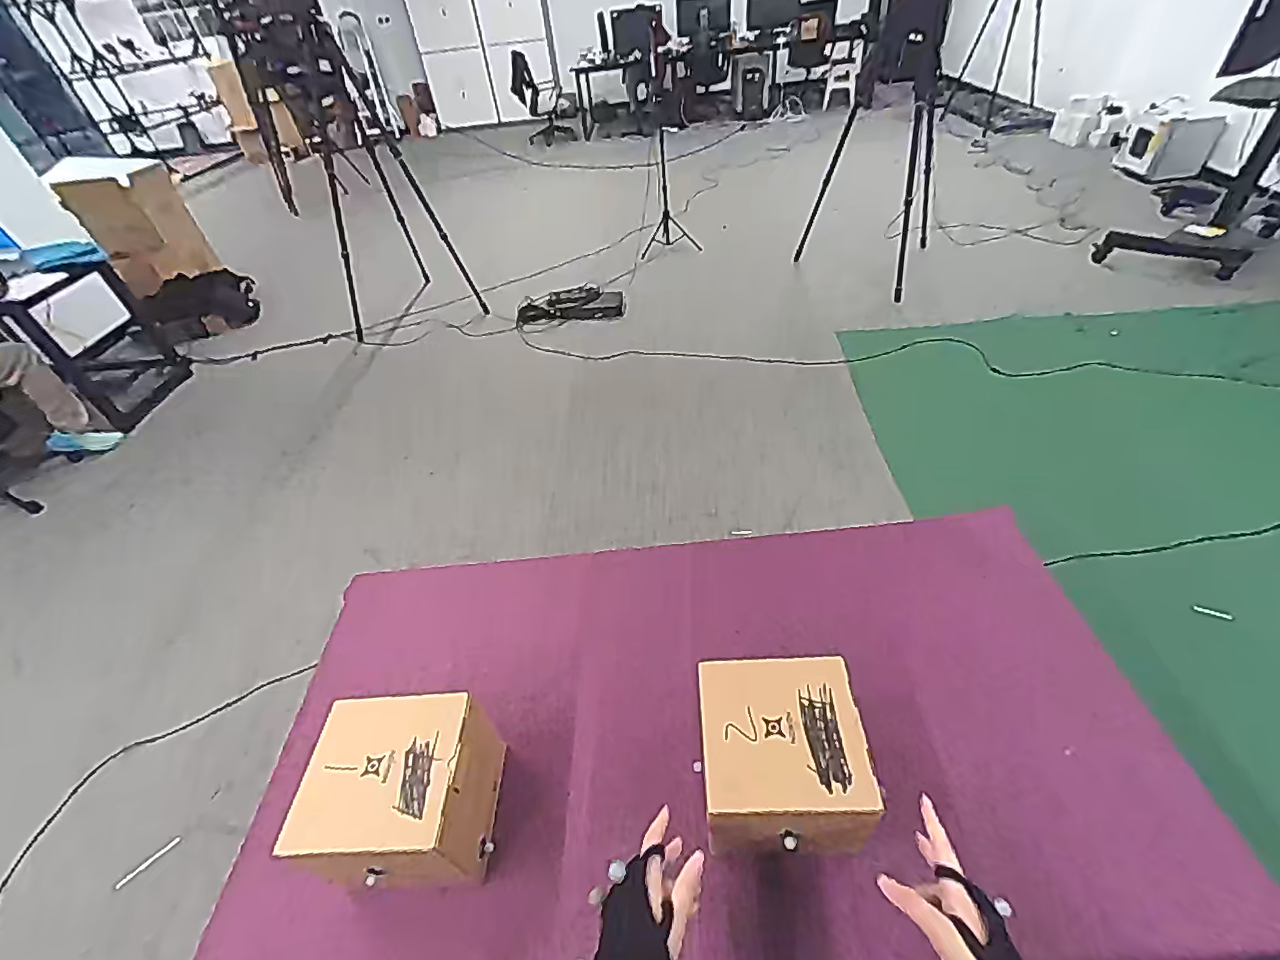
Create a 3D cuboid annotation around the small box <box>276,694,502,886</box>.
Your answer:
[{"bbox_3d":[-0.283,0.381,0.664,0.179,0.176,0.168,-5,43,4],"label":"small box"}]
